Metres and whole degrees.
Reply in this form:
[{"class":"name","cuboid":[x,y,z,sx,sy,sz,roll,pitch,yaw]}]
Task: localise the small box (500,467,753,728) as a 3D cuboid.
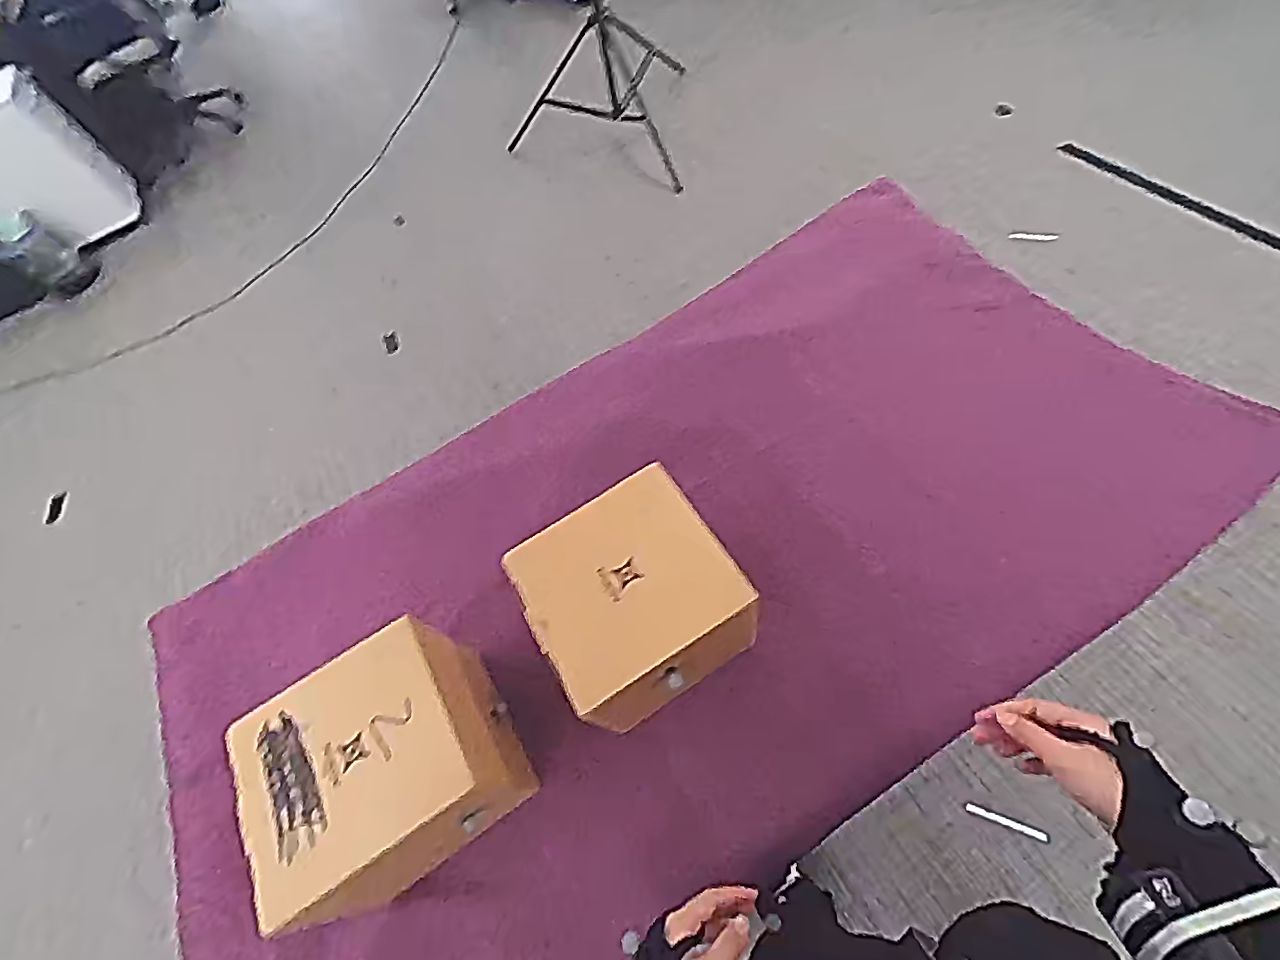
[{"class":"small box","cuboid":[-0.005,0.125,0.545,0.179,0.176,0.168,-33,60,-6]}]
